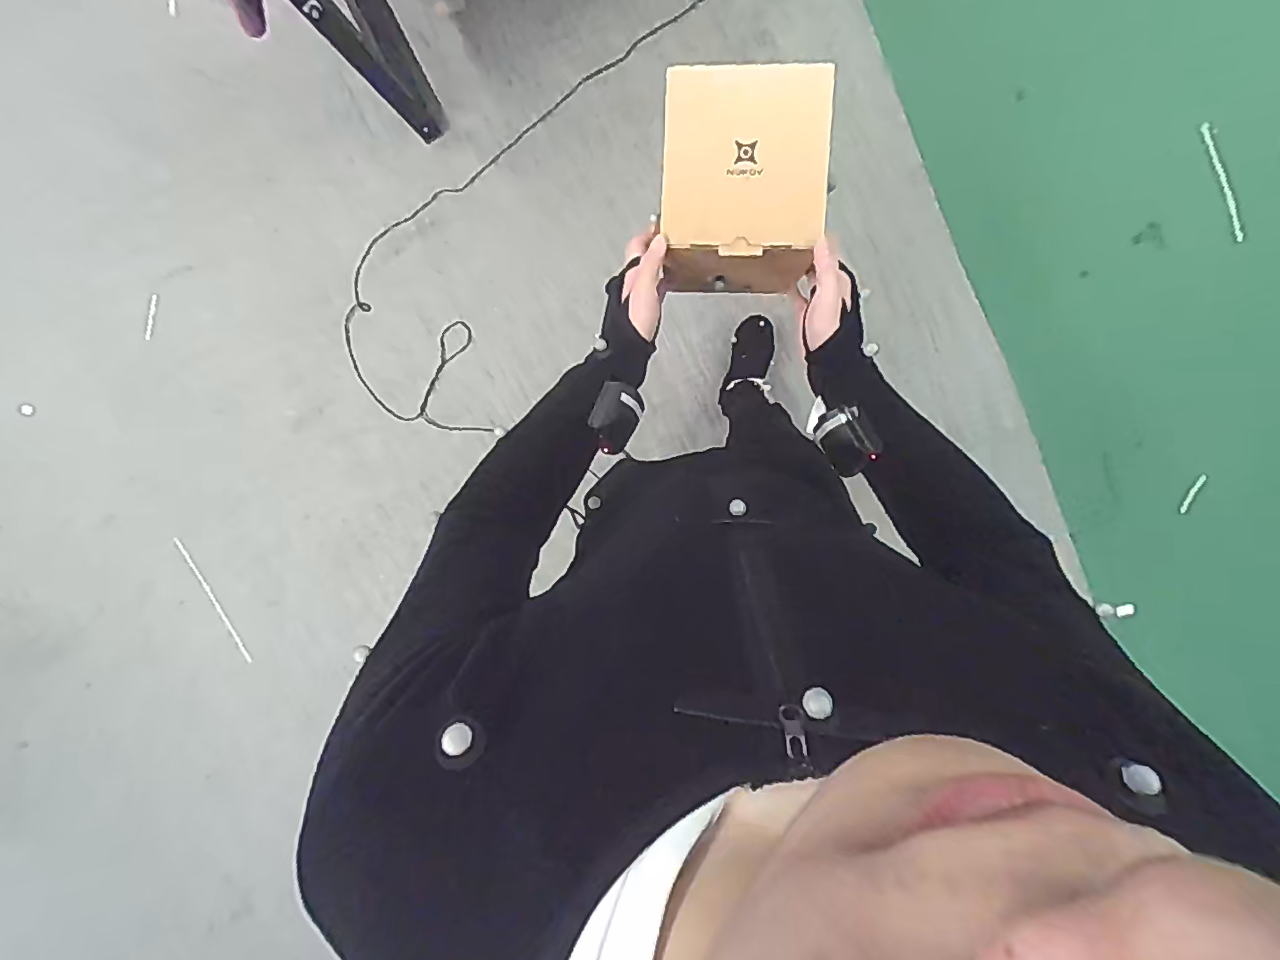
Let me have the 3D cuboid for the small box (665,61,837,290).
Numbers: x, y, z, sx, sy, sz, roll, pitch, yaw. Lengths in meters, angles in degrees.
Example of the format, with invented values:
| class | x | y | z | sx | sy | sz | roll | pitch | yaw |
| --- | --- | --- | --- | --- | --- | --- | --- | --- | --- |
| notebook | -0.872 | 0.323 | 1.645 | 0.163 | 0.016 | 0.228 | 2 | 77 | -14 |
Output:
| class | x | y | z | sx | sy | sz | roll | pitch | yaw |
| --- | --- | --- | --- | --- | --- | --- | --- | --- | --- |
| small box | 0.113 | -0.328 | 0.613 | 0.168 | 0.176 | 0.179 | 1 | 96 | 4 |
